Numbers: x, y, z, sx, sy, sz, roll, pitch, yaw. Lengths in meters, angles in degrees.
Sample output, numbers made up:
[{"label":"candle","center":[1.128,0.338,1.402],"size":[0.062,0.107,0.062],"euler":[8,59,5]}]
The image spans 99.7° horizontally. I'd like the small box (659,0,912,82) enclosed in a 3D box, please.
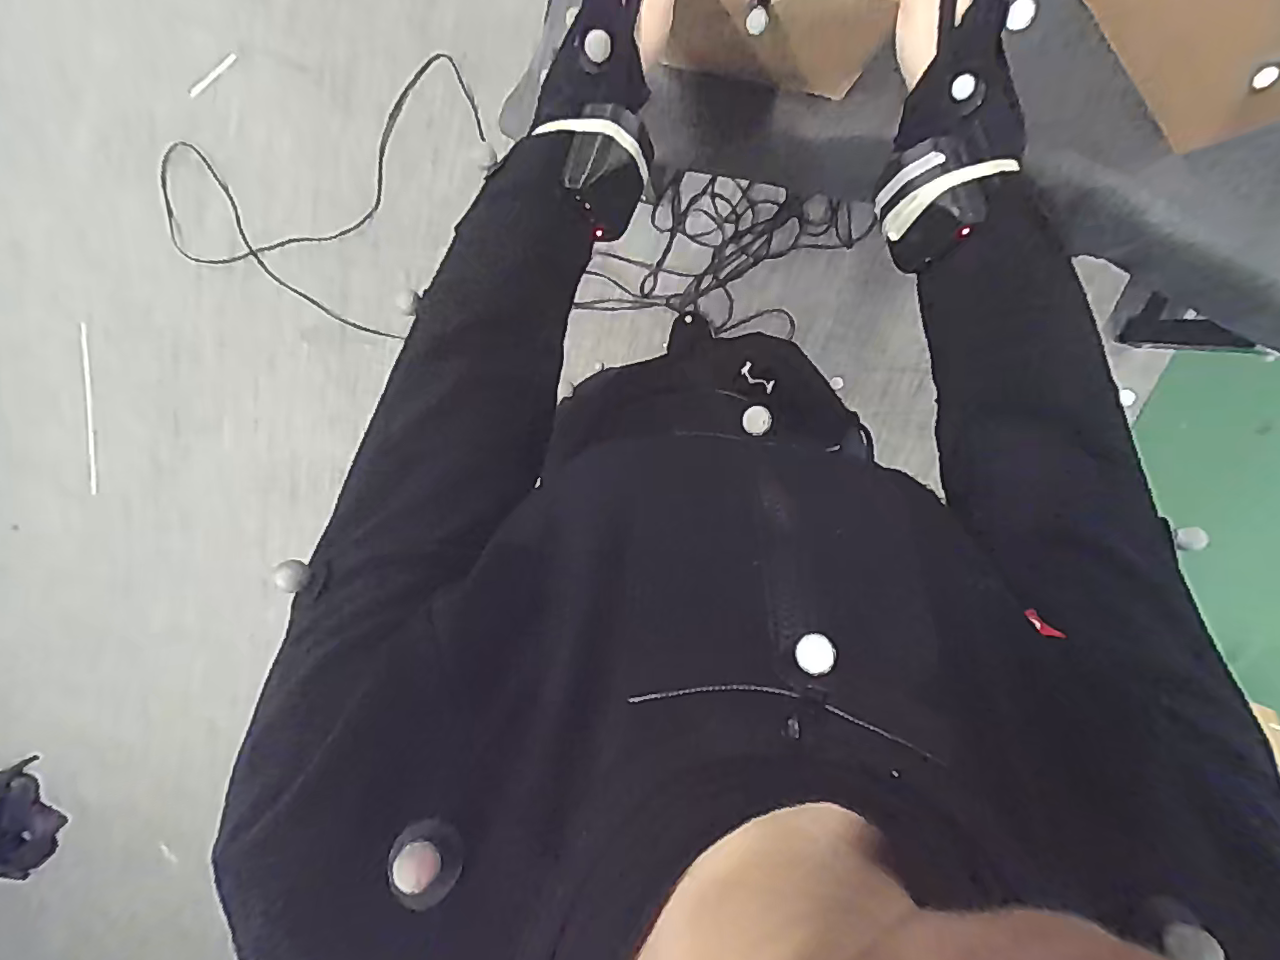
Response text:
[{"label":"small box","center":[0.114,-0.421,0.389],"size":[0.179,0.176,0.168],"euler":[12,107,2]}]
